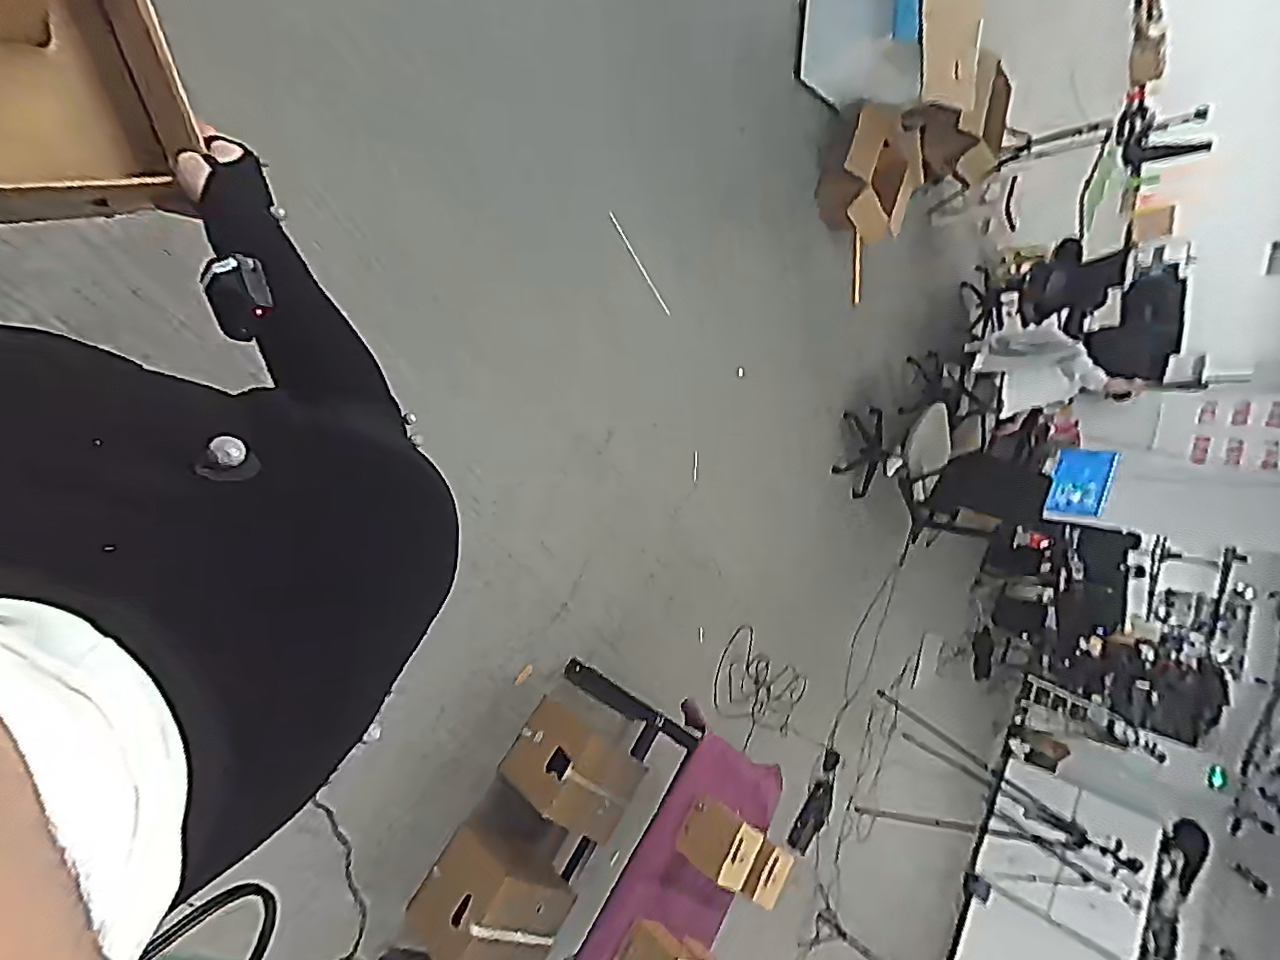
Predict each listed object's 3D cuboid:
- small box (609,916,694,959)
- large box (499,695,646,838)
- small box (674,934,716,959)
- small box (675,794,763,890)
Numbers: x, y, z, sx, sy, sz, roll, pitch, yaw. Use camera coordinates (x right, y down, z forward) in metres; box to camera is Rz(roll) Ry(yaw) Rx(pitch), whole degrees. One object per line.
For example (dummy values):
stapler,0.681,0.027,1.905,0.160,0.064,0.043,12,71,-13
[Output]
small box,0.035,1.351,1.487,0.168,0.176,0.179,-54,130,-23
large box,-0.255,1.095,2.083,0.320,0.320,0.408,-54,131,-21
small box,0.161,1.536,1.646,0.168,0.176,0.179,-53,128,-22
small box,0.232,1.075,1.616,0.168,0.176,0.179,-55,132,-20
